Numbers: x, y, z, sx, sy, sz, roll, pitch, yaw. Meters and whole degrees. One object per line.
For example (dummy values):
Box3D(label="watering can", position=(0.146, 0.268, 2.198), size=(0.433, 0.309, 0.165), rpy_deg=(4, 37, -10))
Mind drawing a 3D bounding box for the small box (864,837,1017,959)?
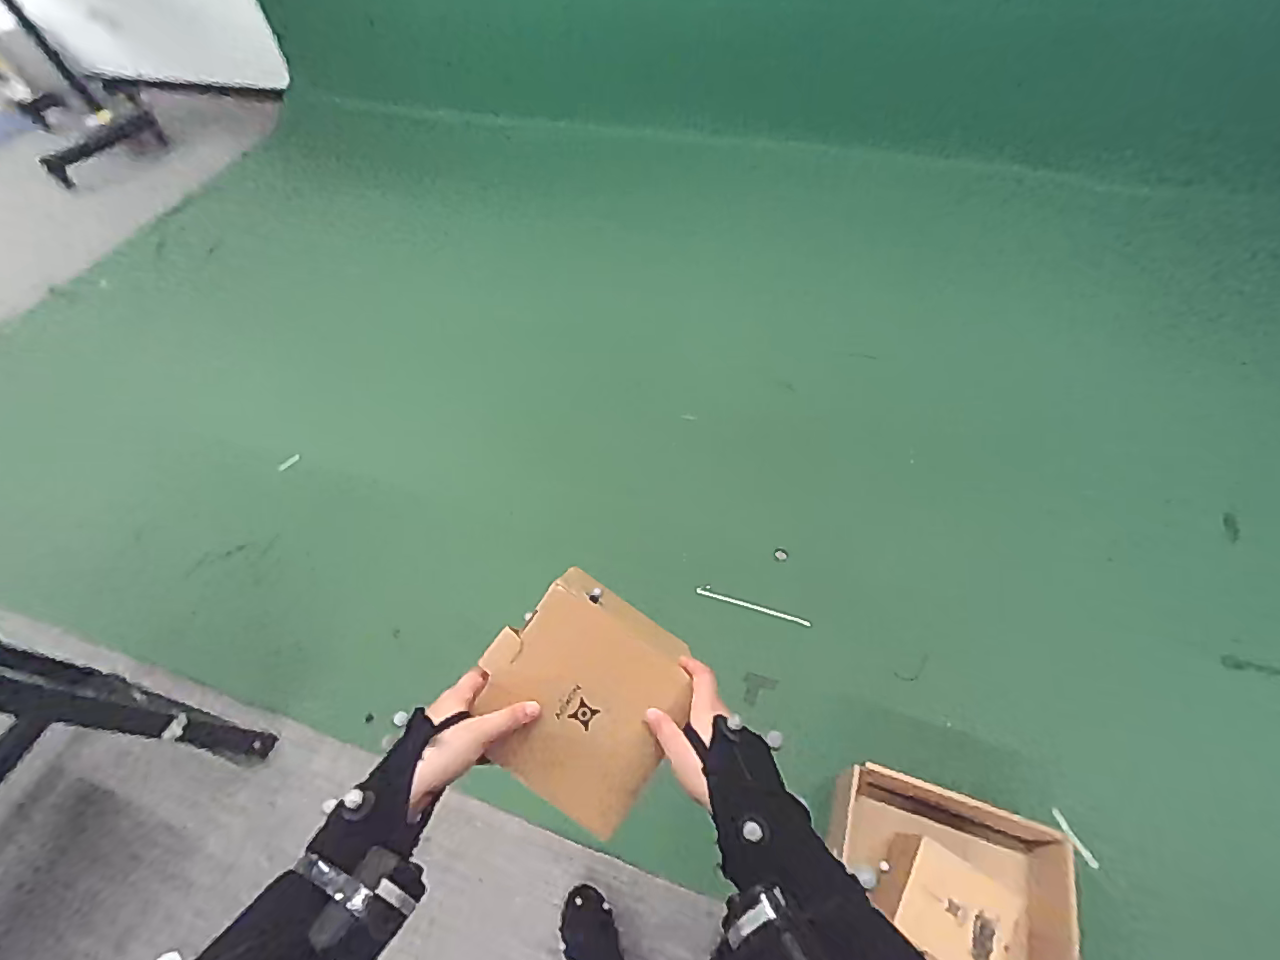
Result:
Box3D(label="small box", position=(0.556, 0.805, 1.019), size=(0.179, 0.176, 0.168), rpy_deg=(29, 64, 20))

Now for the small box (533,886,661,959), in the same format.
Box3D(label="small box", position=(-0.084, 0.916, 1.023), size=(0.176, 0.168, 0.179), rpy_deg=(42, 40, -4))
